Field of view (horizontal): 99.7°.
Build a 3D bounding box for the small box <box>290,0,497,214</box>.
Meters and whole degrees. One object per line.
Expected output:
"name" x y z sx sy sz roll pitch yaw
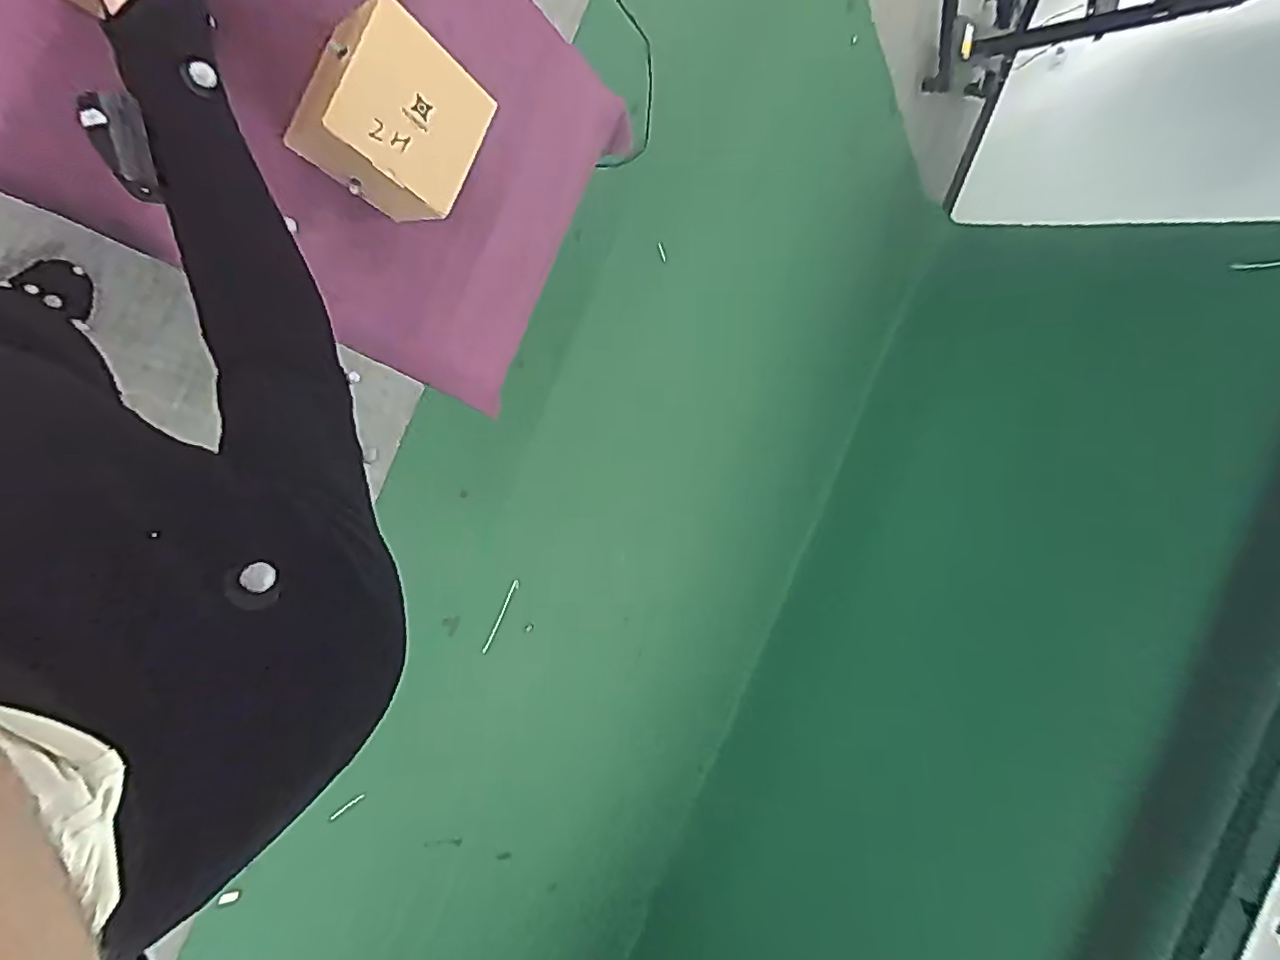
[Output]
"small box" -0.330 -0.483 0.717 0.168 0.176 0.179 26 88 -48
